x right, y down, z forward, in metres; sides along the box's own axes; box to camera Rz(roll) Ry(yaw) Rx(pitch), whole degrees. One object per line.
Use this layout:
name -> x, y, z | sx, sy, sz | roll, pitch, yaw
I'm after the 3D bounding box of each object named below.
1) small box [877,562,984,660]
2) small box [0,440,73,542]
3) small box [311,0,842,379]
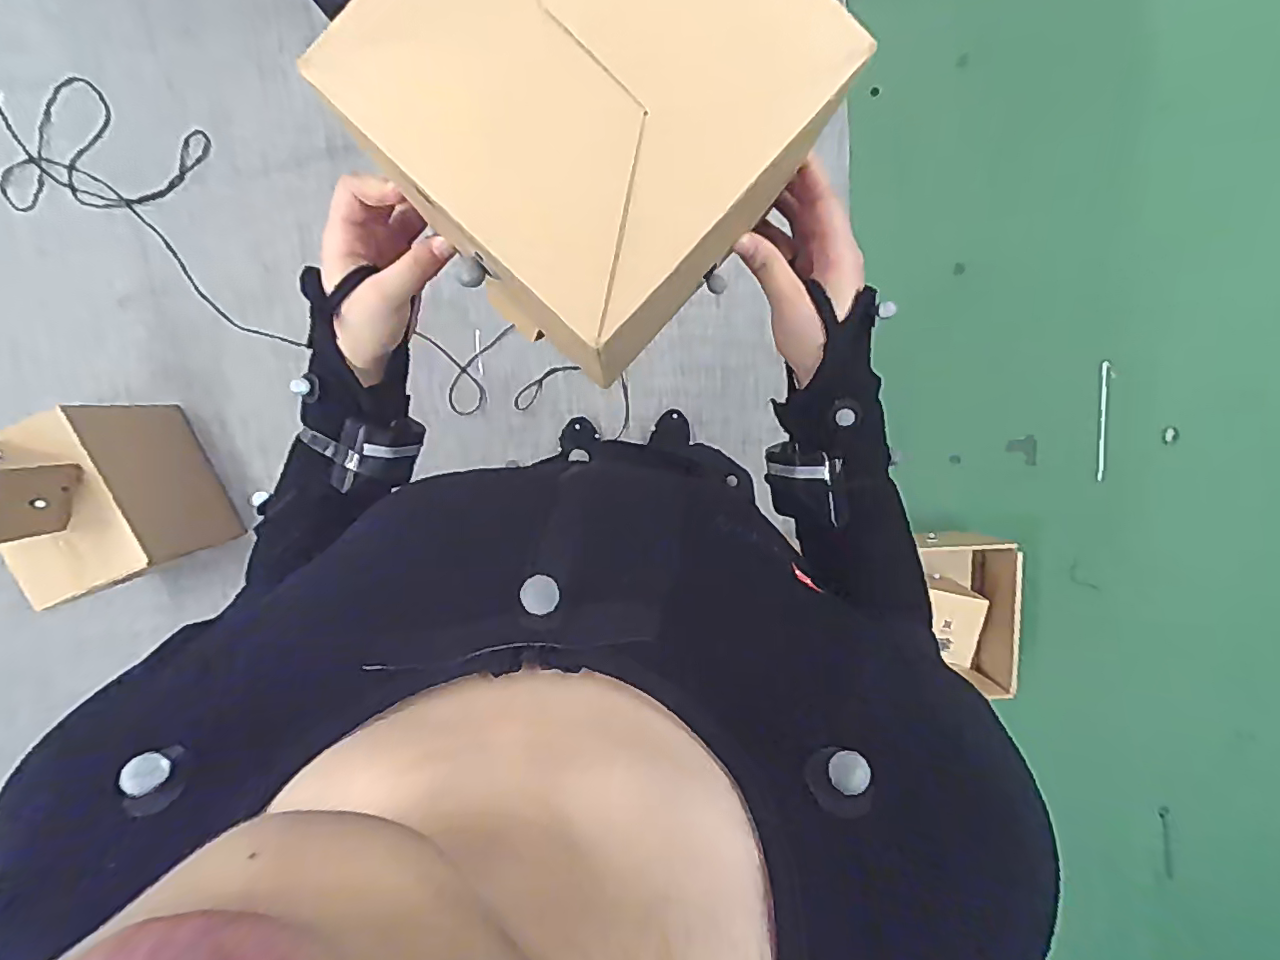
small box -> 0.733, 0.330, 1.387 | 0.168, 0.176, 0.179 | 12, 99, 0
small box -> -1.359, 0.019, 1.128 | 0.179, 0.176, 0.168 | 17, 97, -3
small box -> -0.026, -0.180, 0.300 | 0.168, 0.176, 0.179 | 43, 91, -4
